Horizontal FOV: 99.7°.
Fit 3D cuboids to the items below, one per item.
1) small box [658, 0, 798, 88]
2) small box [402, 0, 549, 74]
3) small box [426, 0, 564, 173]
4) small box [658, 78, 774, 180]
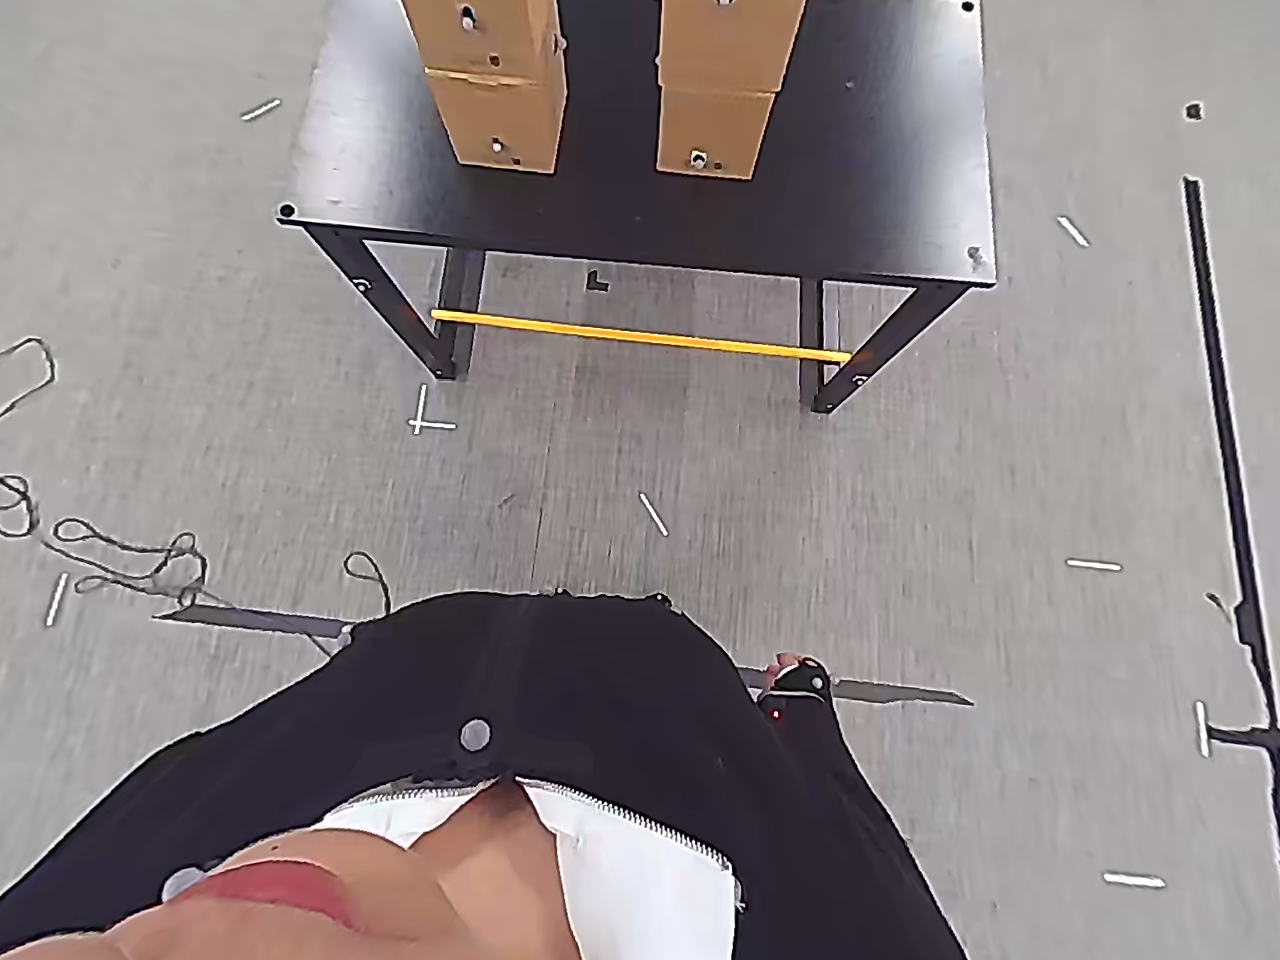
[{"bbox_3d":[0.116,-0.660,0.716,0.179,0.176,0.168,3,78,0],"label":"small box"},{"bbox_3d":[-0.217,-0.681,0.711,0.168,0.176,0.179,4,78,-1],"label":"small box"},{"bbox_3d":[-0.219,-0.637,0.869,0.168,0.176,0.179,6,78,0],"label":"small box"},{"bbox_3d":[0.118,-0.628,0.877,0.168,0.176,0.179,4,79,1],"label":"small box"}]
